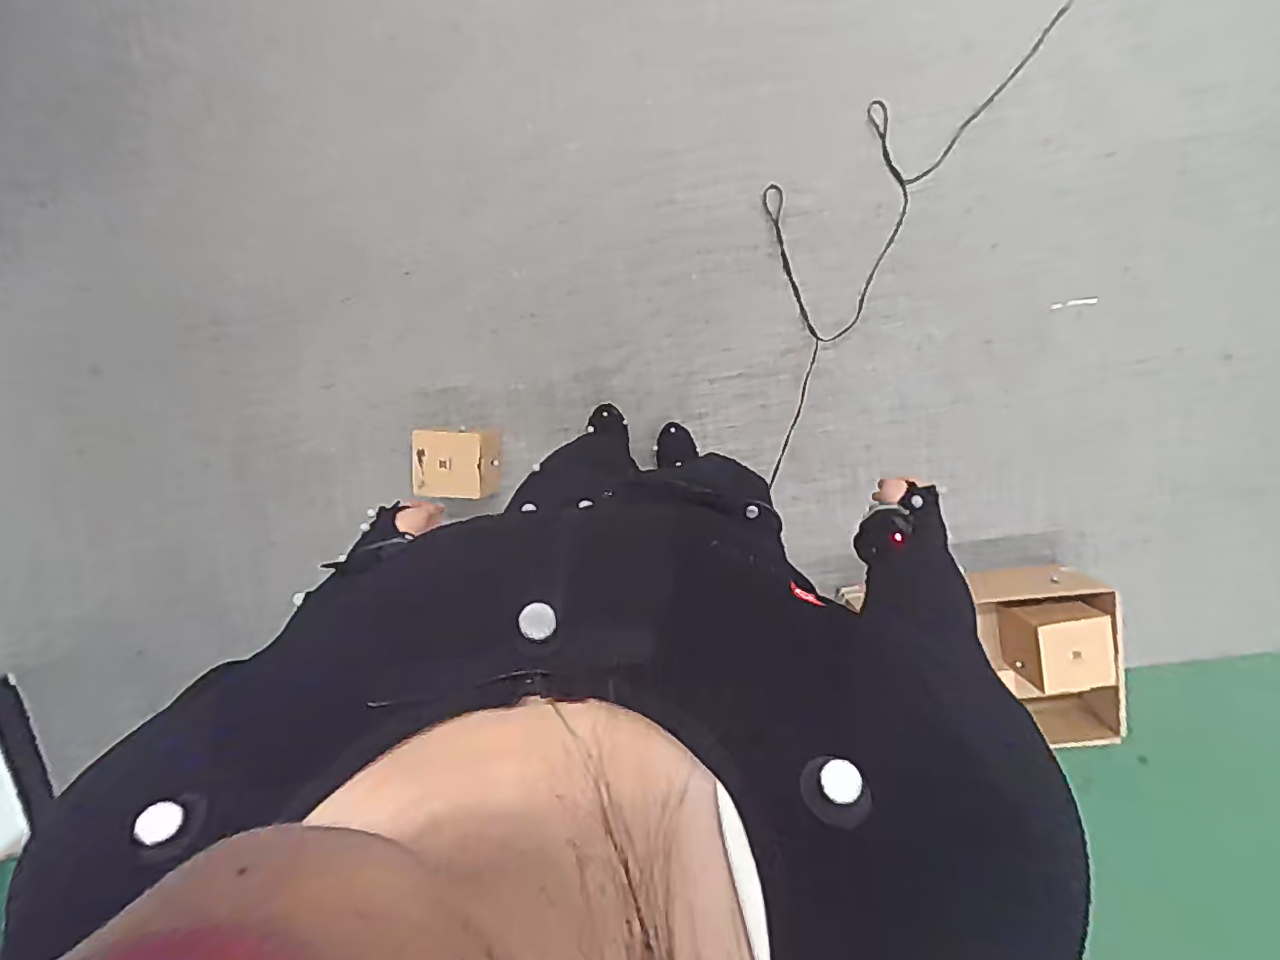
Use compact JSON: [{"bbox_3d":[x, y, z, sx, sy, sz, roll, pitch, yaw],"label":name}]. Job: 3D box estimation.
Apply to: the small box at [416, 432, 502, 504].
[{"bbox_3d":[-0.468,-0.038,1.419,0.179,0.176,0.168,3,98,2],"label":"small box"}]
